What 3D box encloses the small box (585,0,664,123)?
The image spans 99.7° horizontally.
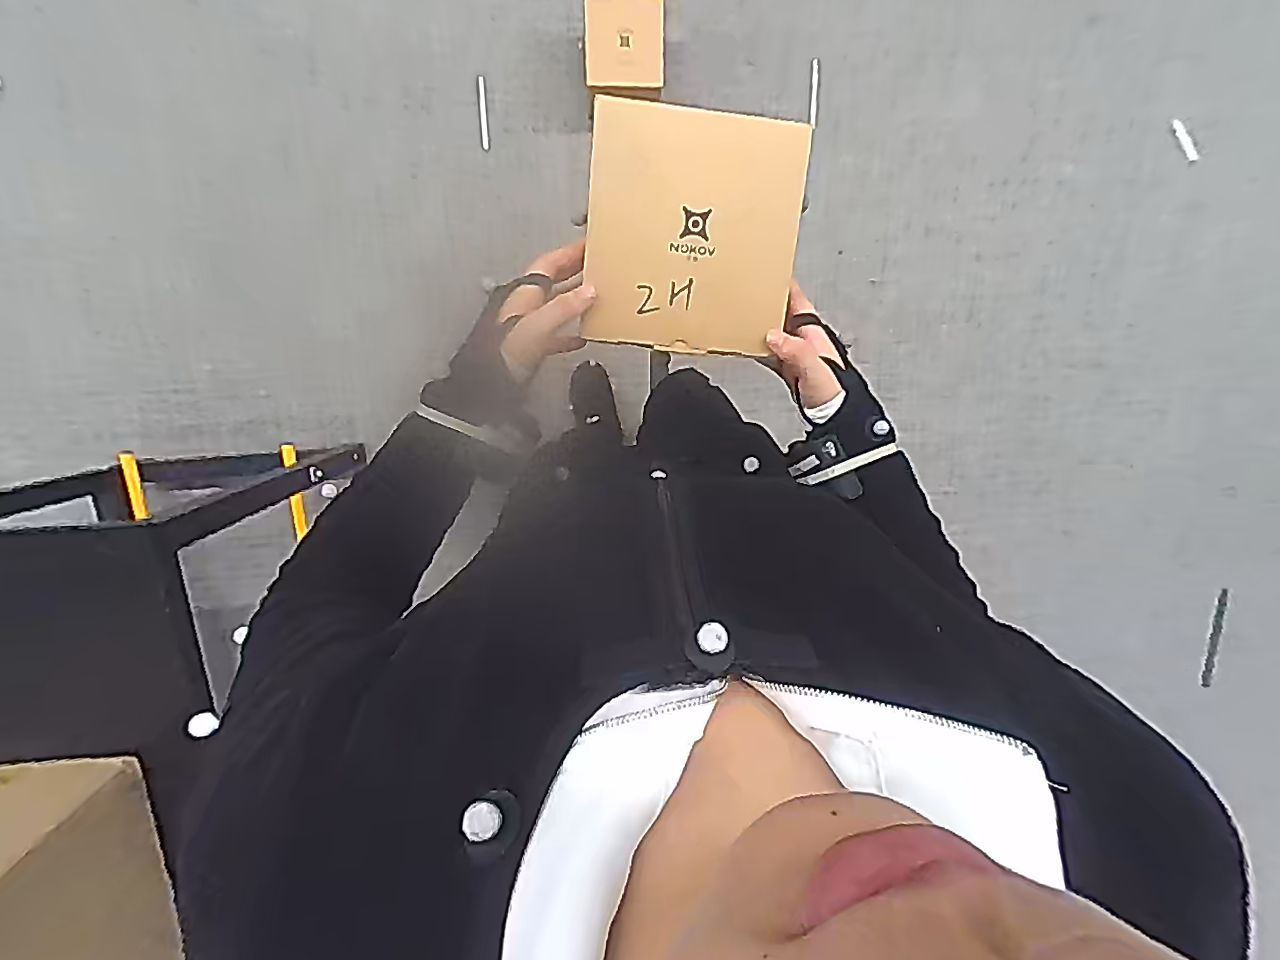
[{"bbox_3d":[-0.039,-0.926,1.204,0.168,0.176,0.179,-2,104,-3],"label":"small box"}]

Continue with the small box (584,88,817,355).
[{"bbox_3d":[0.039,-0.211,0.492,0.168,0.176,0.179,5,104,-4],"label":"small box"}]
